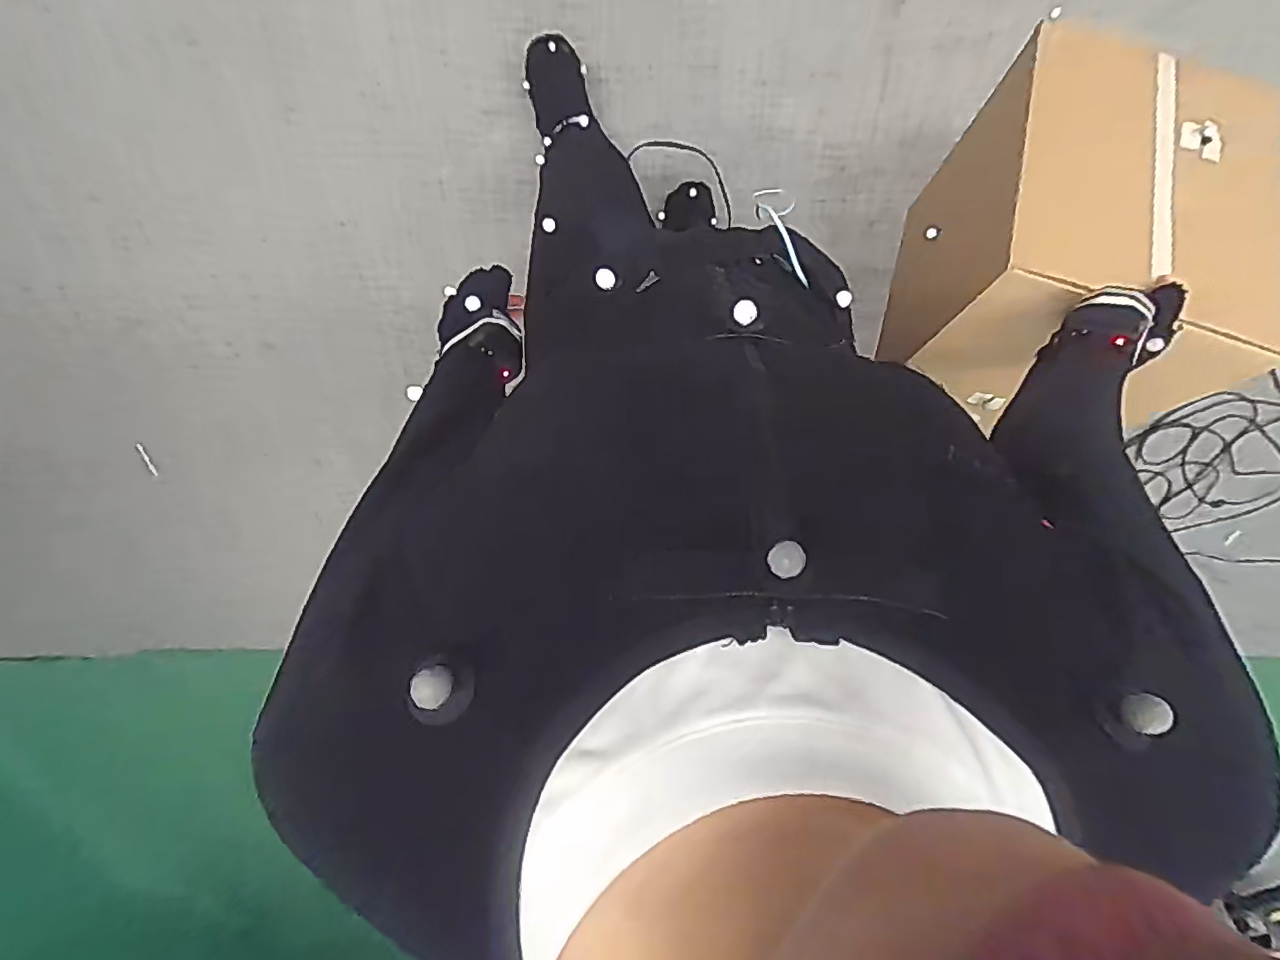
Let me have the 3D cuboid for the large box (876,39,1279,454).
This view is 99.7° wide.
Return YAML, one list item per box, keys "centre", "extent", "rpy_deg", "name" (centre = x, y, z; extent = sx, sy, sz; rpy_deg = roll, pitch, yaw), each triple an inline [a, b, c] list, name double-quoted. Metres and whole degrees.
- centre: [0.578, -0.302, 0.774]
  extent: [0.320, 0.408, 0.320]
  rpy_deg: [18, 161, 1]
  name: "large box"
